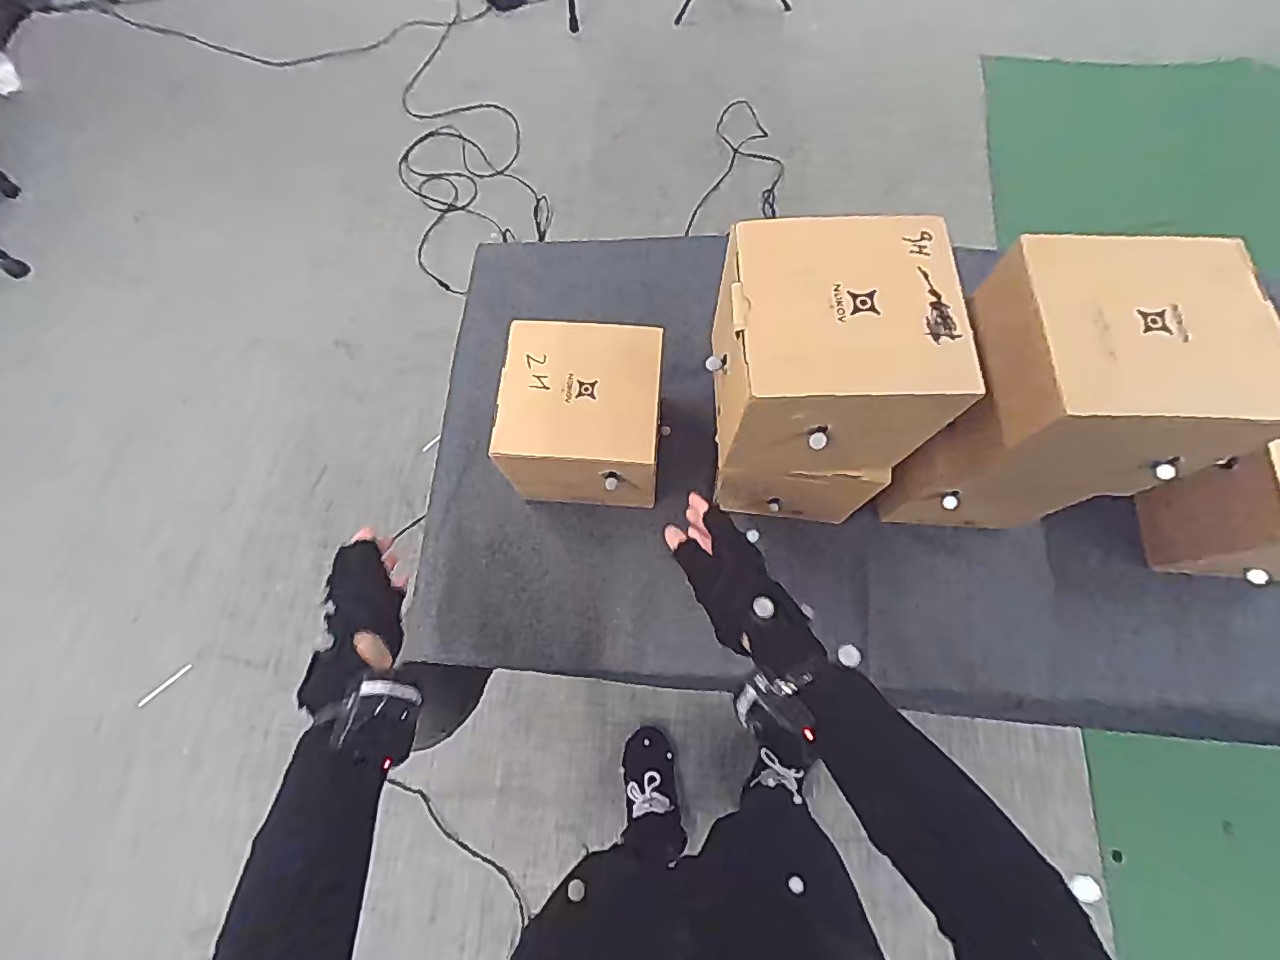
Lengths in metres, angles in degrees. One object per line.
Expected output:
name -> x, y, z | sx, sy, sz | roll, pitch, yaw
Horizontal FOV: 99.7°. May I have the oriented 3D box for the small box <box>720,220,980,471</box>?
small box -> 0.168, -0.111, 0.502 | 0.179, 0.176, 0.168 | -1, 72, 2
